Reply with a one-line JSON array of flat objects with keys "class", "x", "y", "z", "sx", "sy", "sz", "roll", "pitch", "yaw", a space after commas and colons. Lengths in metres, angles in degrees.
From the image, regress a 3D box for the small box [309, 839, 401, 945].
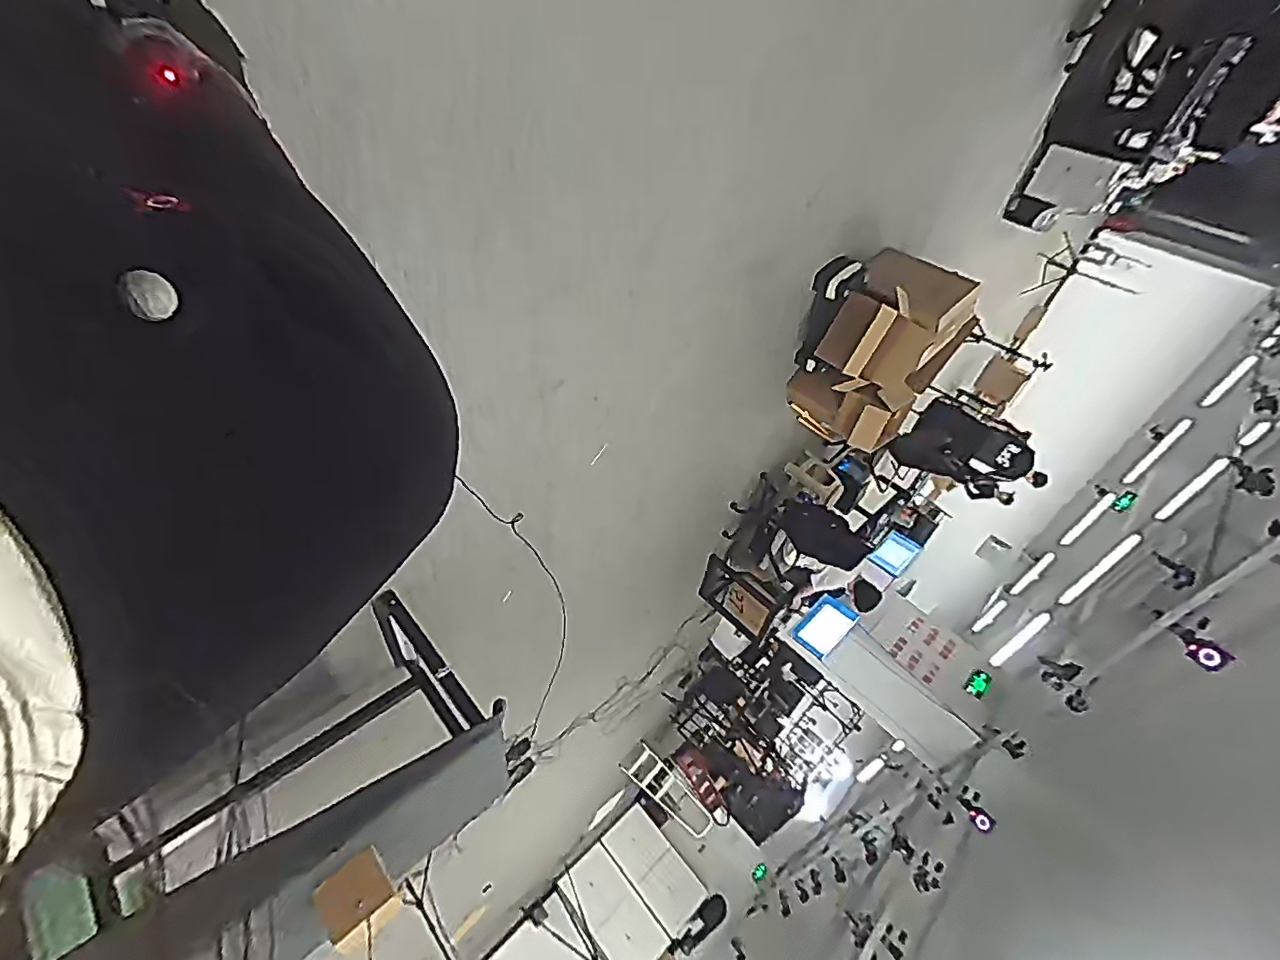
[{"class": "small box", "x": -0.837, "y": 1.209, "z": 1.594, "sx": 0.179, "sy": 0.176, "sz": 0.168, "roll": -28, "pitch": 145, "yaw": -34}]
